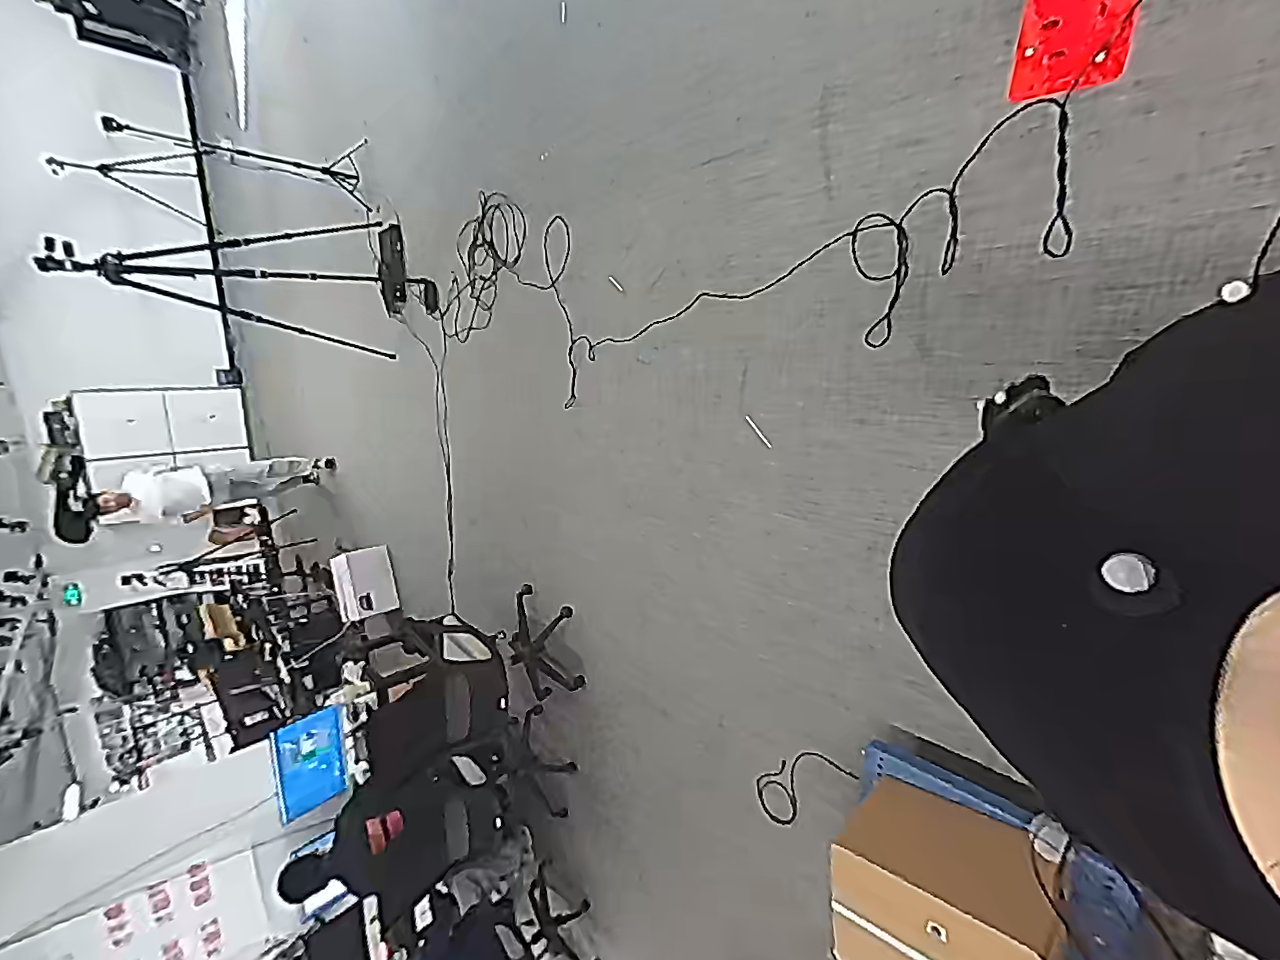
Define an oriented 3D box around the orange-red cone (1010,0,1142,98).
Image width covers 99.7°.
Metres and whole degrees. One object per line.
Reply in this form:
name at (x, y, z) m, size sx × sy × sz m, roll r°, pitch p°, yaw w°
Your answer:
orange-red cone at (0.771, -0.887, 0.988) m, size 0.198 × 0.360 × 0.199 m, roll 18°, pitch 110°, yaw 42°
